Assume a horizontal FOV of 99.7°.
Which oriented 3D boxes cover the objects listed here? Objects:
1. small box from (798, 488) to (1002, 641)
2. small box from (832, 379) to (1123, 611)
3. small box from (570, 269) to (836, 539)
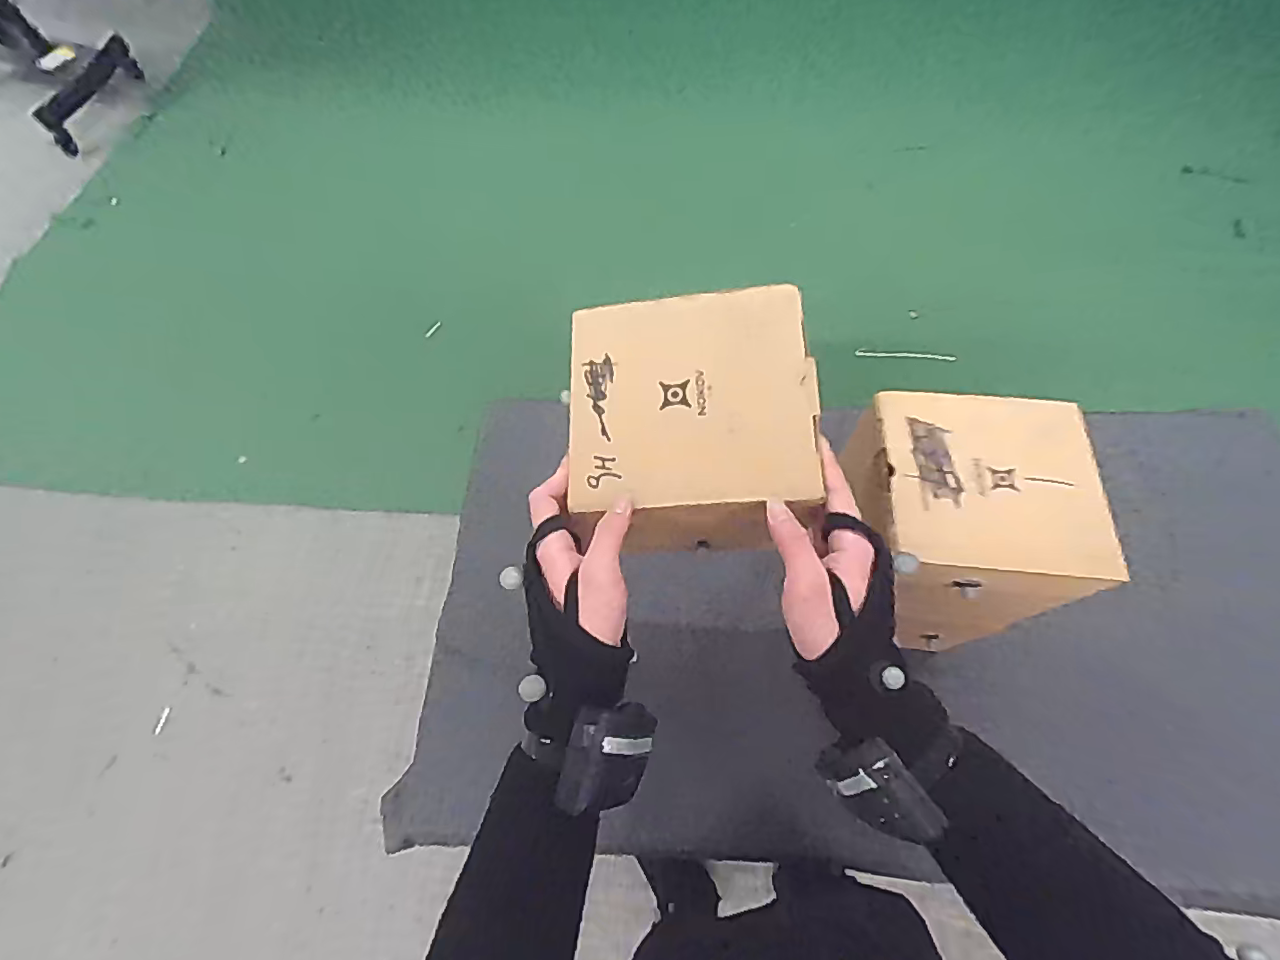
[{"bbox_3d":[0.302,0.098,0.670,0.179,0.176,0.168,5,64,6],"label":"small box"},{"bbox_3d":[0.293,0.023,0.523,0.179,0.176,0.168,5,65,3],"label":"small box"},{"bbox_3d":[0.050,-0.048,0.451,0.179,0.176,0.168,-2,72,8],"label":"small box"}]
